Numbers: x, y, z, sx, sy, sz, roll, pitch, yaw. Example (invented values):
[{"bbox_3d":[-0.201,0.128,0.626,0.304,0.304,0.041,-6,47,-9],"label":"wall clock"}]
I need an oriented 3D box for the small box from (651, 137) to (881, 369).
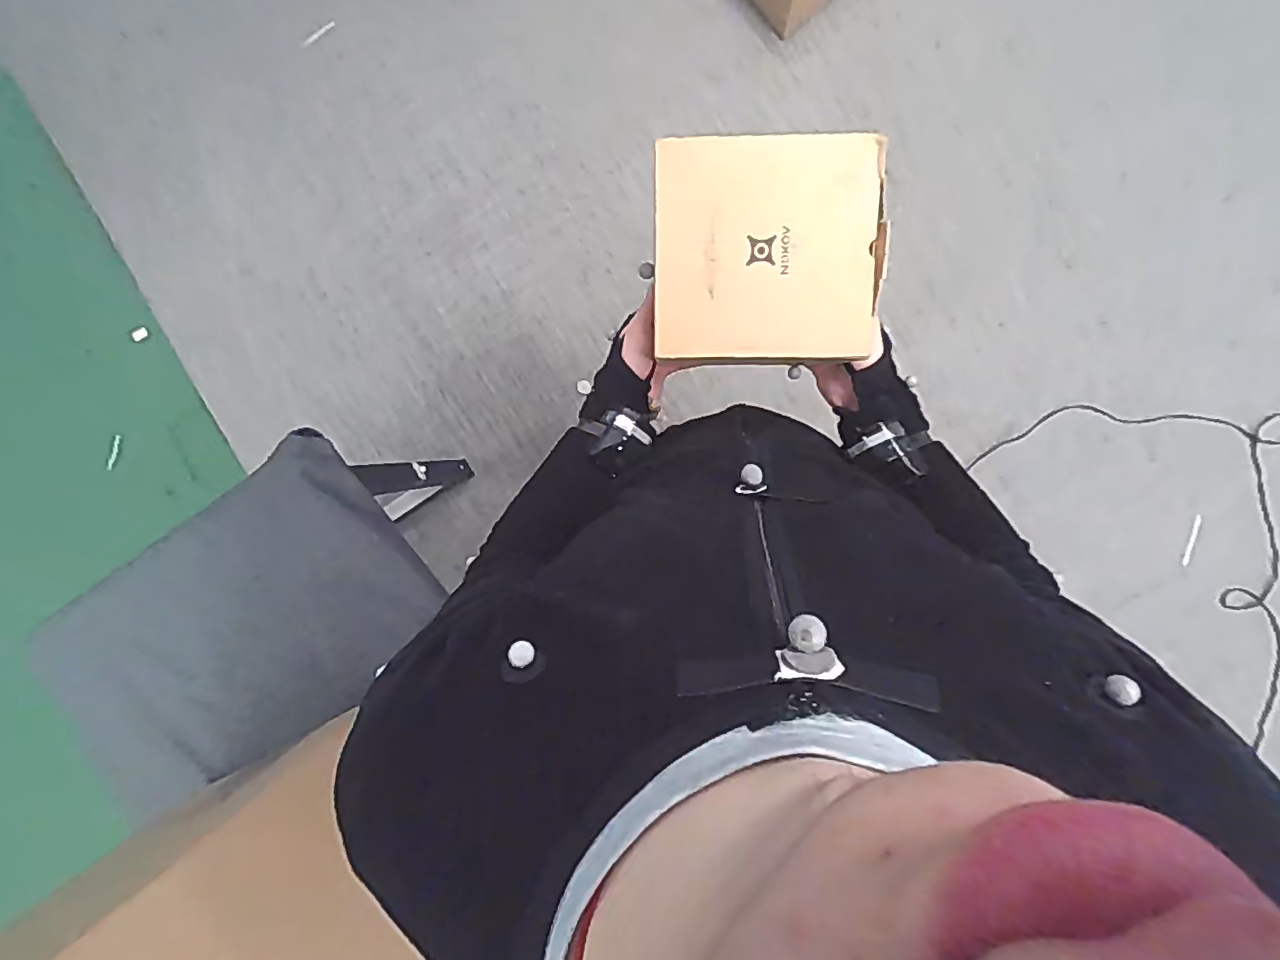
[{"bbox_3d":[0.099,-0.191,0.501,0.179,0.176,0.168,0,99,4],"label":"small box"}]
